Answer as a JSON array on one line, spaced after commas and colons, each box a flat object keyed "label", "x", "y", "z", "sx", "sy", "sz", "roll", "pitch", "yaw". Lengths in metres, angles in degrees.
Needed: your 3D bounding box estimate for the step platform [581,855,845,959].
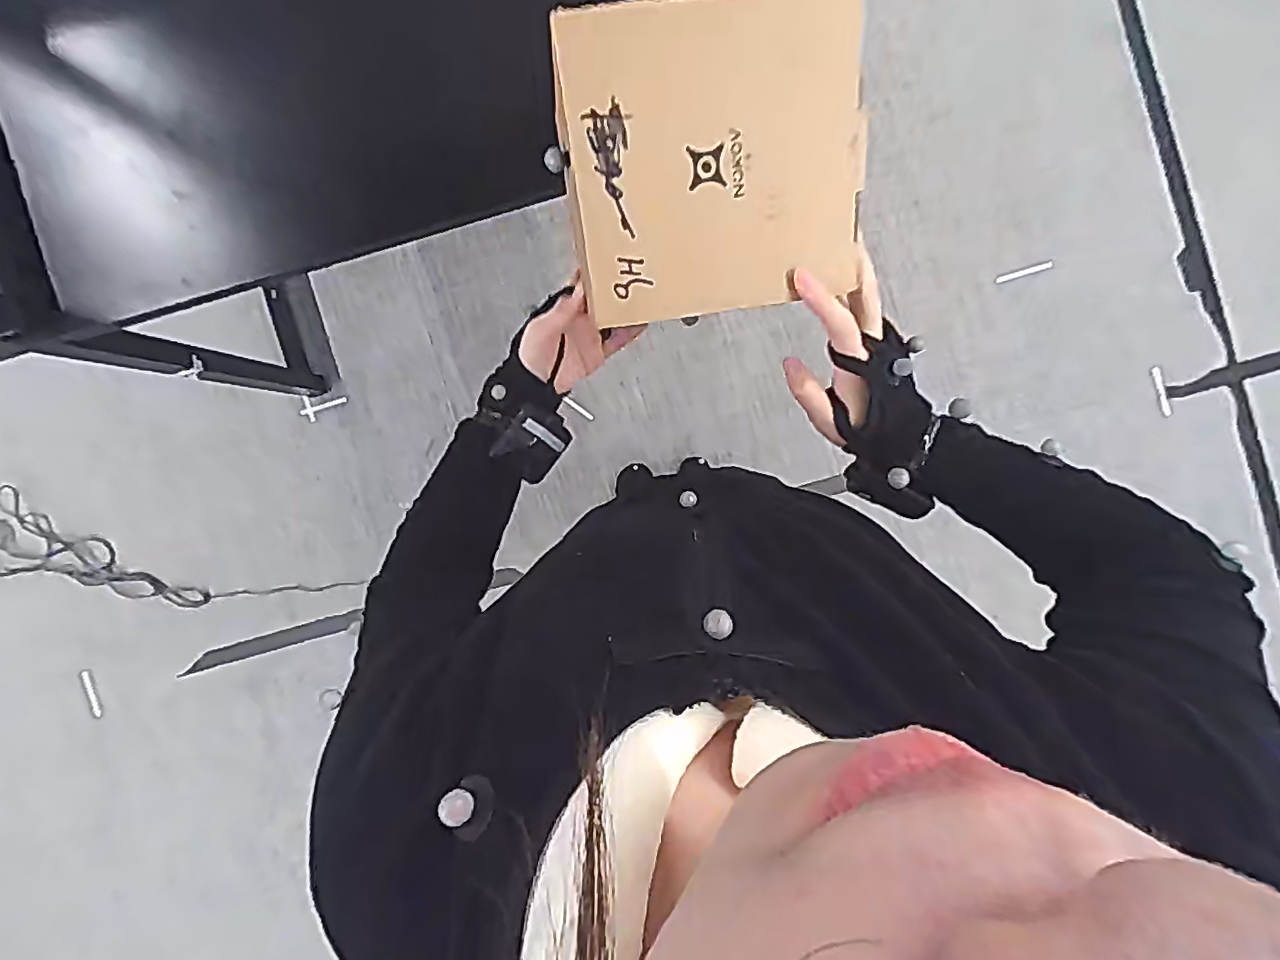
[{"label": "step platform", "x": 0.188, "y": 1.249, "z": 1.443, "sx": 0.684, "sy": 0.204, "sz": 0.286, "roll": -10, "pitch": 92, "yaw": 1}]
